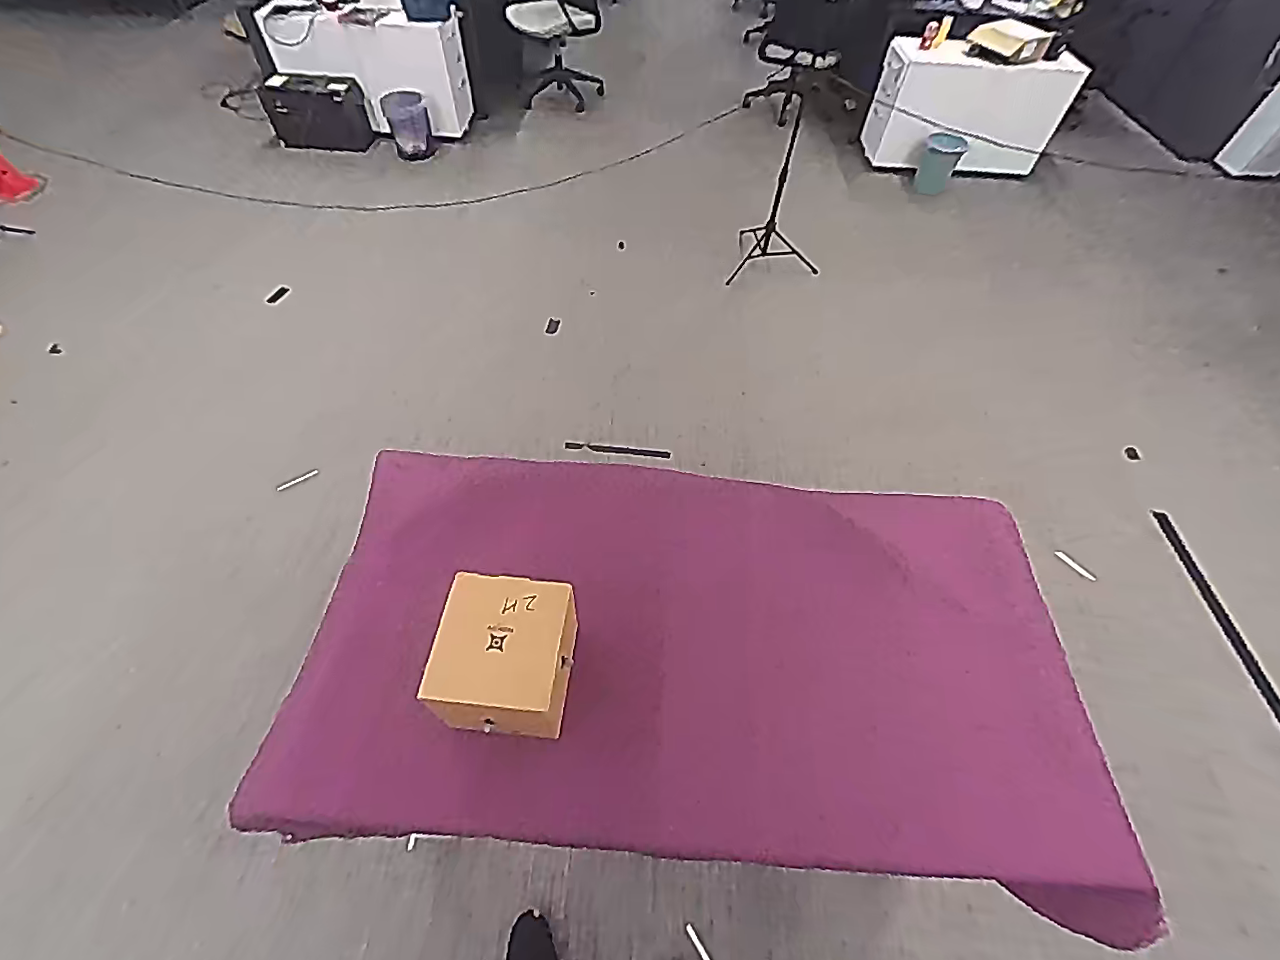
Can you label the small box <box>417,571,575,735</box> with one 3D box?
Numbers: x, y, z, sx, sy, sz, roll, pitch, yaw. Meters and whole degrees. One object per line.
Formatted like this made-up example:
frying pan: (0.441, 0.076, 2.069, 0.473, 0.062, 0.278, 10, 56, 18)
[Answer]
small box: (-0.189, 0.253, 0.775, 0.168, 0.176, 0.179, 7, 54, 1)
